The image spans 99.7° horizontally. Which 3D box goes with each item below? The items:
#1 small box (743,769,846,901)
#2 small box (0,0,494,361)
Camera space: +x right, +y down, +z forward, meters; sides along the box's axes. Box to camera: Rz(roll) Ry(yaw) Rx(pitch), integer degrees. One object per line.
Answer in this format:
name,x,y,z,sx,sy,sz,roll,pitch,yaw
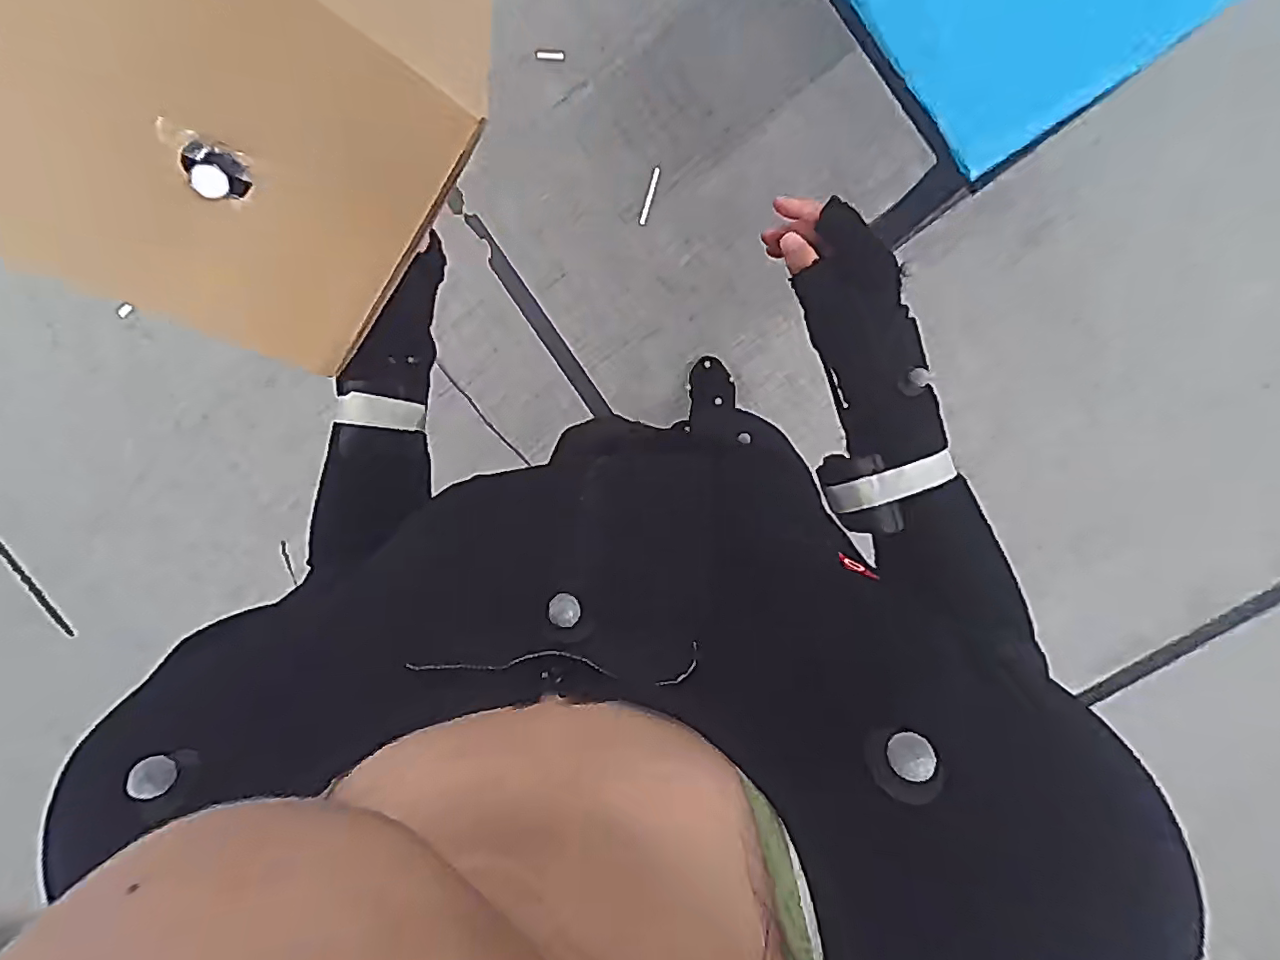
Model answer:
small box,0.365,0.850,1.308,0.168,0.176,0.179,-32,92,9
small box,-0.186,-0.195,0.250,0.179,0.176,0.168,-36,49,36
